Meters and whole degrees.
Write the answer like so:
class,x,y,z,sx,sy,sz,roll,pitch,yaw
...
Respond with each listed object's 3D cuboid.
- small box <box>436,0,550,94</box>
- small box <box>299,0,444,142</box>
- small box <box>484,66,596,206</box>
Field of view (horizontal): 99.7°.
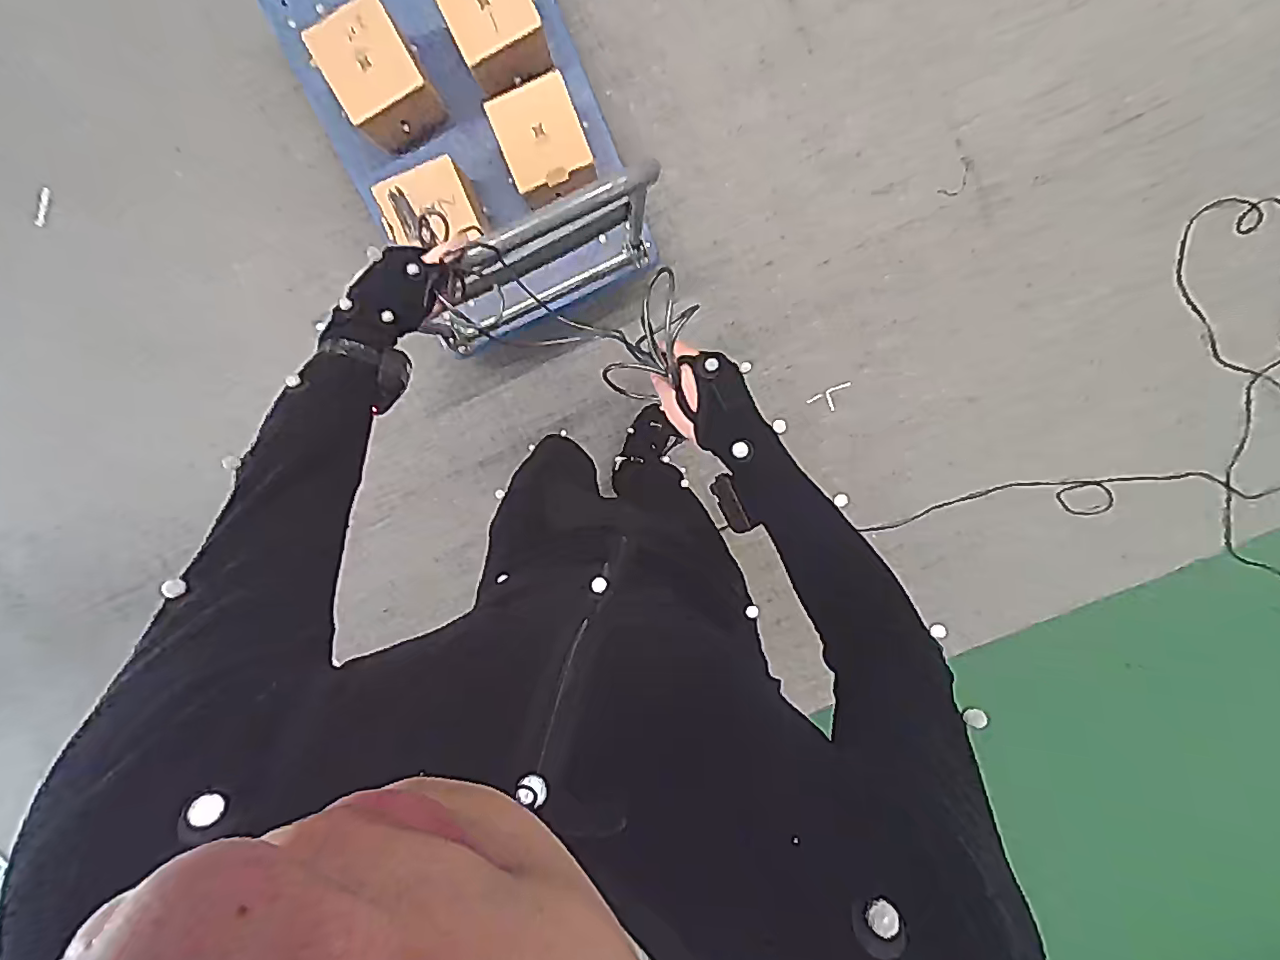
class,x,y,z,sx,sy,sz,roll,pitch,yaw
small box,-0.299,-0.929,1.081,0.168,0.176,0.179,-25,105,7
small box,-0.532,-0.826,1.104,0.168,0.176,0.179,-28,104,5
small box,-0.203,-0.713,1.143,0.168,0.176,0.179,-22,105,5
